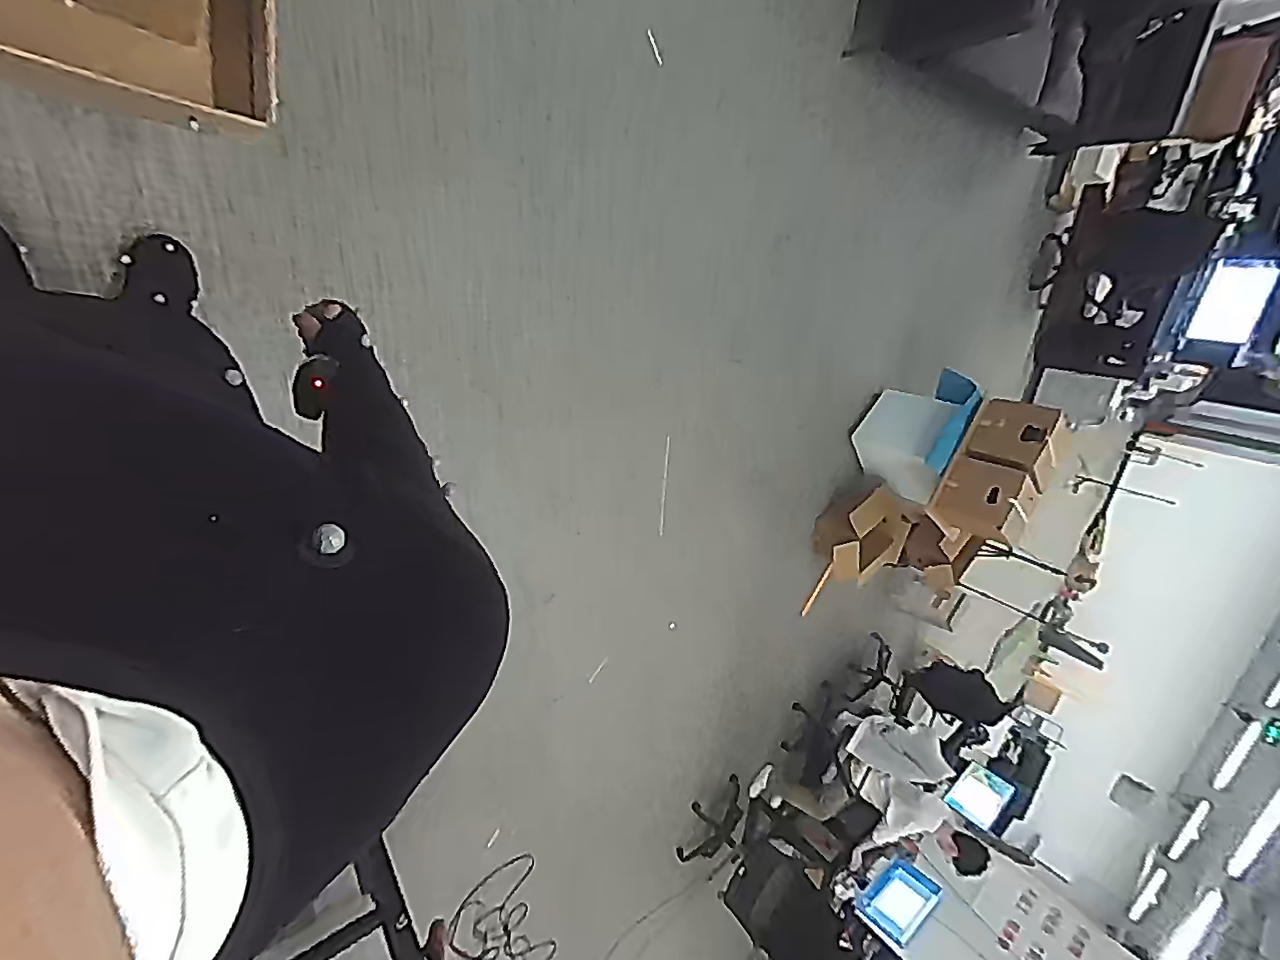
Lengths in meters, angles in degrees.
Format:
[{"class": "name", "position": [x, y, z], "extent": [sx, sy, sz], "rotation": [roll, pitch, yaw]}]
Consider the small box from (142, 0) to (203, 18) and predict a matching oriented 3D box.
[{"class": "small box", "position": [-0.568, -0.646, 0.570], "extent": [0.168, 0.176, 0.179], "rotation": [-2, 112, -40]}]

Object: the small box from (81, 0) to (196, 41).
[{"class": "small box", "position": [-0.669, -0.705, 0.683], "extent": [0.168, 0.176, 0.179], "rotation": [-2, 111, -41]}]
